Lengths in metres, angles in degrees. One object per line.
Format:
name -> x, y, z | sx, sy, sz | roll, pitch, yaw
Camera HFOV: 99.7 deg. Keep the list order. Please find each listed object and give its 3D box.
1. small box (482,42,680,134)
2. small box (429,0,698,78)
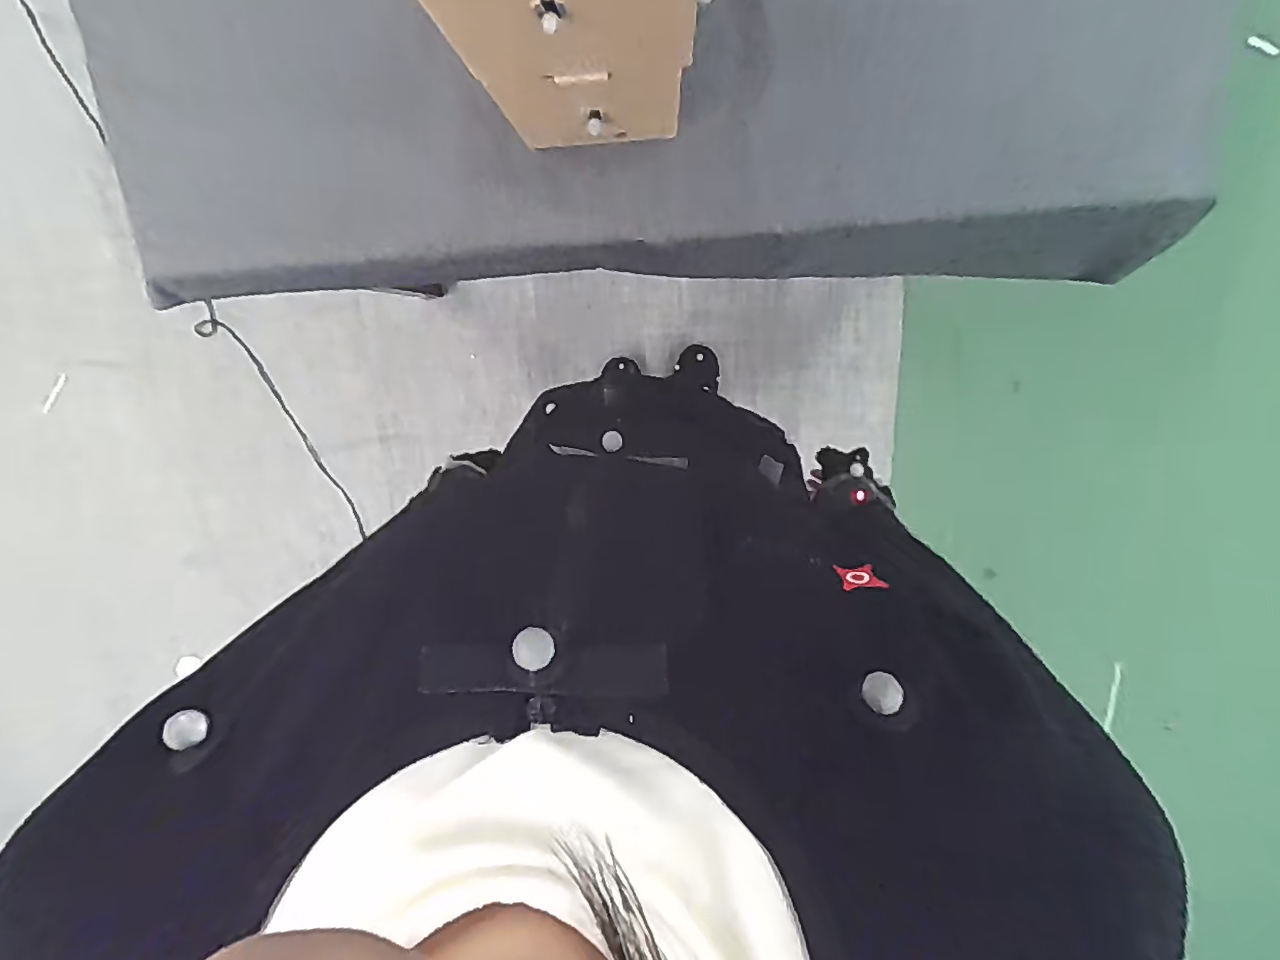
small box -> -0.047, -0.436, 0.491 | 0.168, 0.176, 0.179 | -2, 106, 4
small box -> -0.050, -0.385, 0.334 | 0.179, 0.176, 0.168 | -5, 105, 3
